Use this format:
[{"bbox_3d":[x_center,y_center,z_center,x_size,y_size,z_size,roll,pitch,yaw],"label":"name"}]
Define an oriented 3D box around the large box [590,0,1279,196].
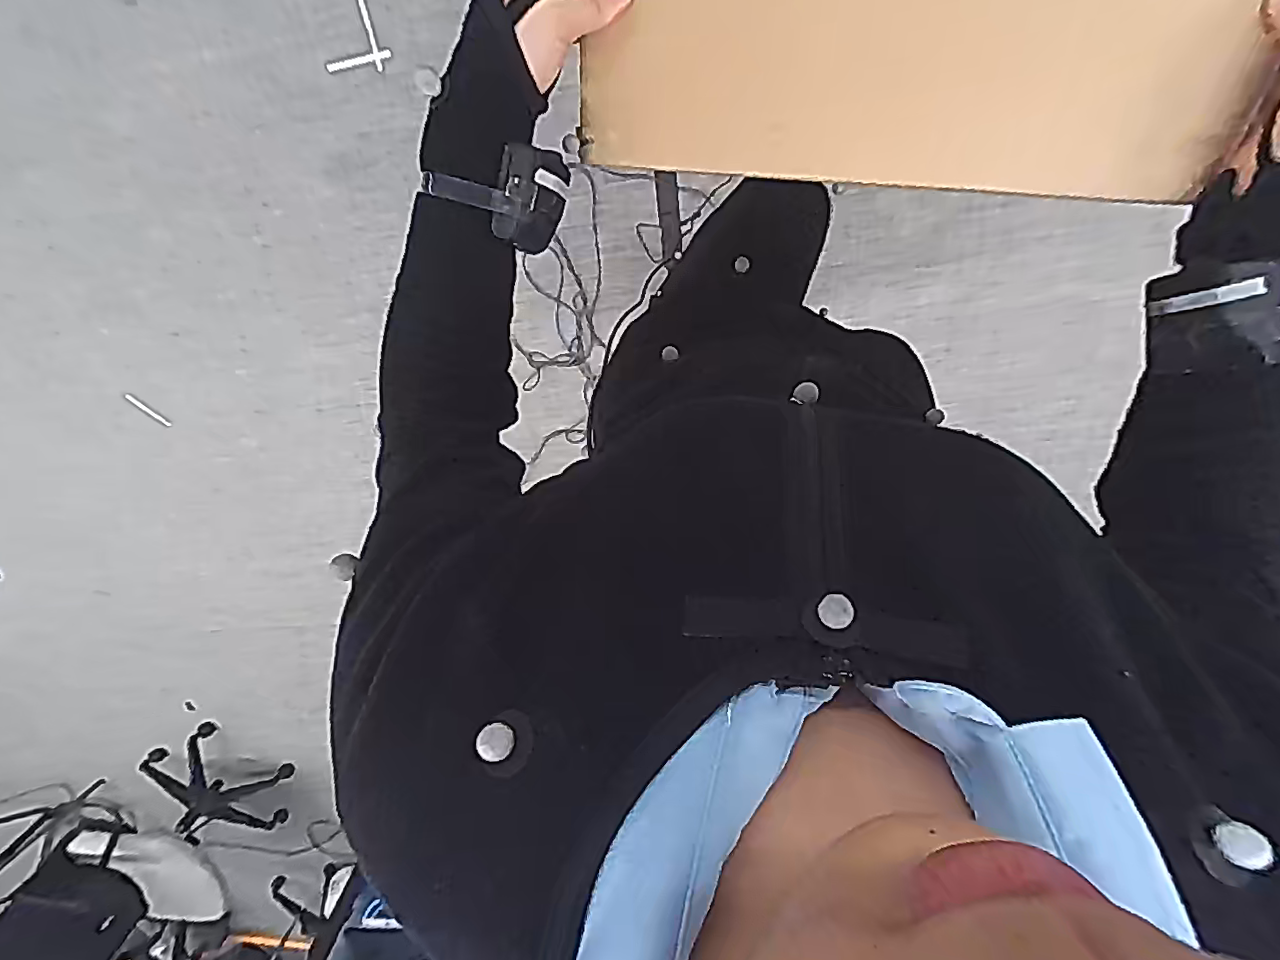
[{"bbox_3d":[0.198,-0.416,0.421,0.408,0.320,0.320,9,122,10],"label":"large box"}]
